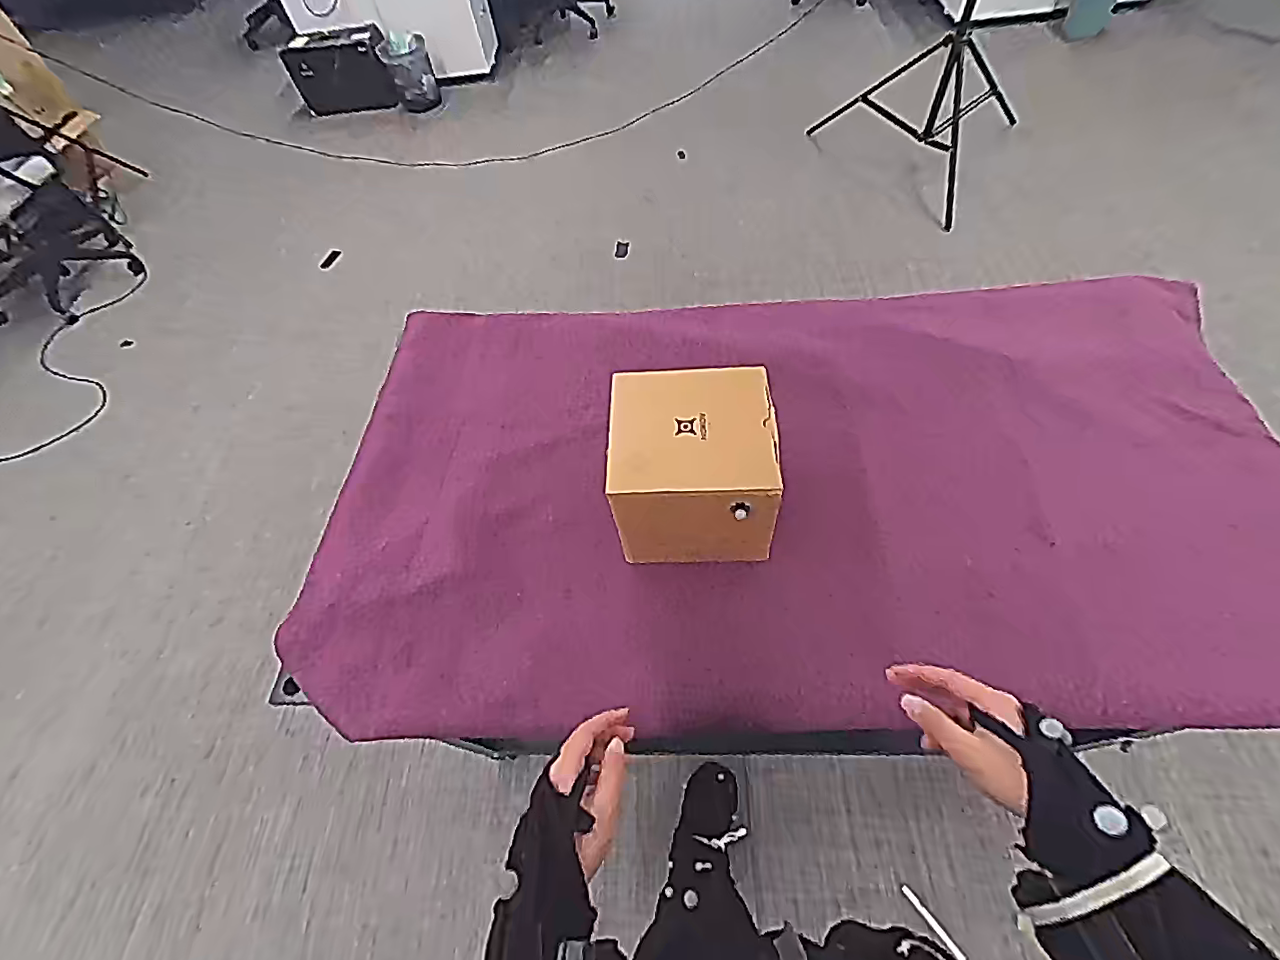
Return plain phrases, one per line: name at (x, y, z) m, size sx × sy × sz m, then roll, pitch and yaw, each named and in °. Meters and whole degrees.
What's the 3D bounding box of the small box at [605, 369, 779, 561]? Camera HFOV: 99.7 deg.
small box at (0.060, -0.011, 0.644) m, size 0.179 × 0.176 × 0.168 m, roll -2°, pitch 57°, yaw 5°
